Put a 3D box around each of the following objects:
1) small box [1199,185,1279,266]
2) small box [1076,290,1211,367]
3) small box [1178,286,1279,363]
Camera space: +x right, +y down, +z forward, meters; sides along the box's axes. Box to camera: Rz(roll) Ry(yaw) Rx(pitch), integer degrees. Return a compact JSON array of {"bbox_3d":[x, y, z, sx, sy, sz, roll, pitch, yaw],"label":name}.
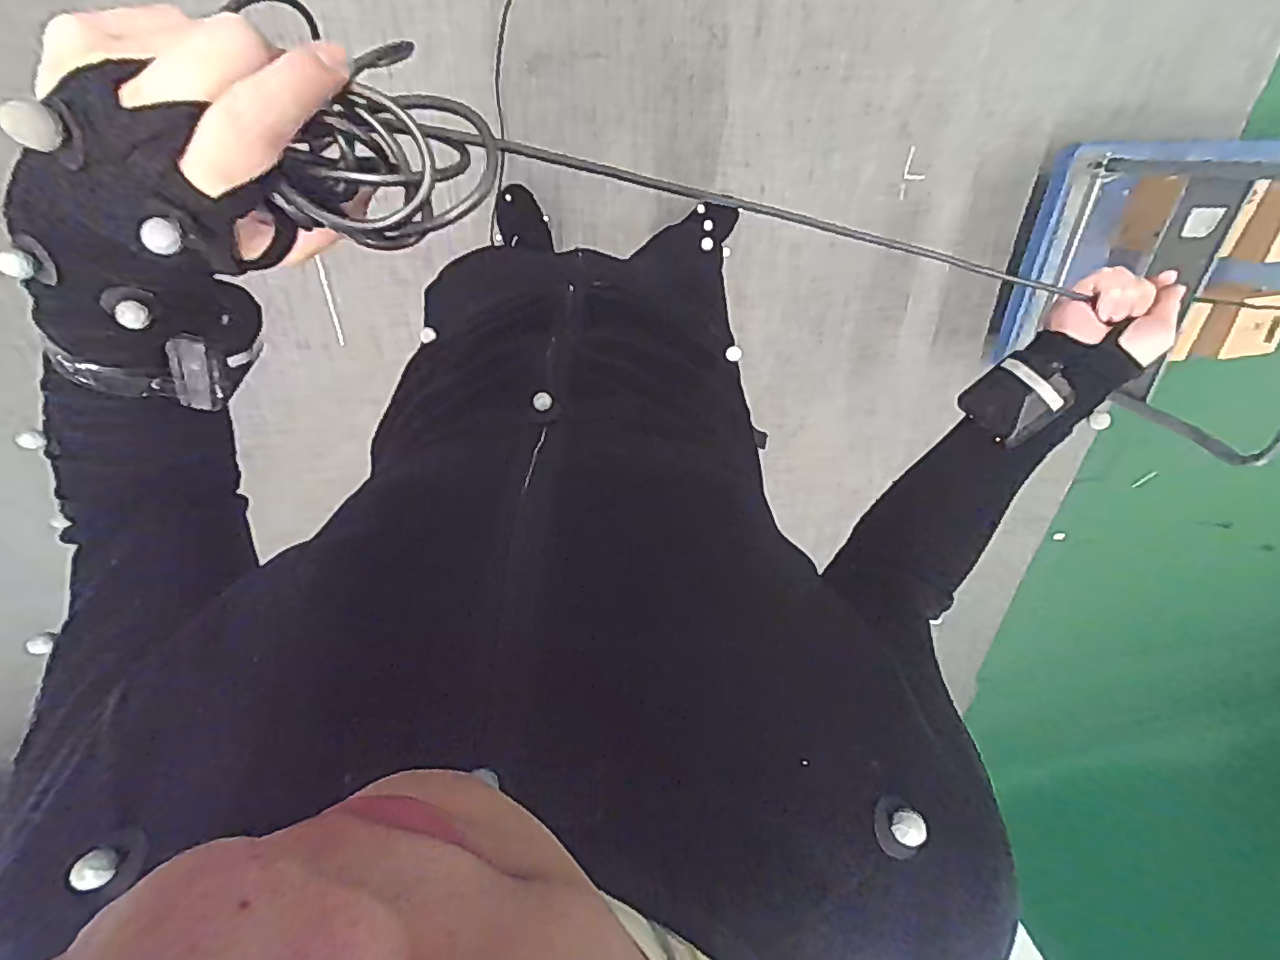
[{"bbox_3d":[1.614,-0.654,1.381,0.179,0.176,0.168,-8,122,-5],"label":"small box"},{"bbox_3d":[1.366,-0.418,1.481,0.179,0.176,0.168,-3,121,-7],"label":"small box"},{"bbox_3d":[1.634,-0.439,1.512,0.179,0.176,0.168,-7,121,-4],"label":"small box"}]
